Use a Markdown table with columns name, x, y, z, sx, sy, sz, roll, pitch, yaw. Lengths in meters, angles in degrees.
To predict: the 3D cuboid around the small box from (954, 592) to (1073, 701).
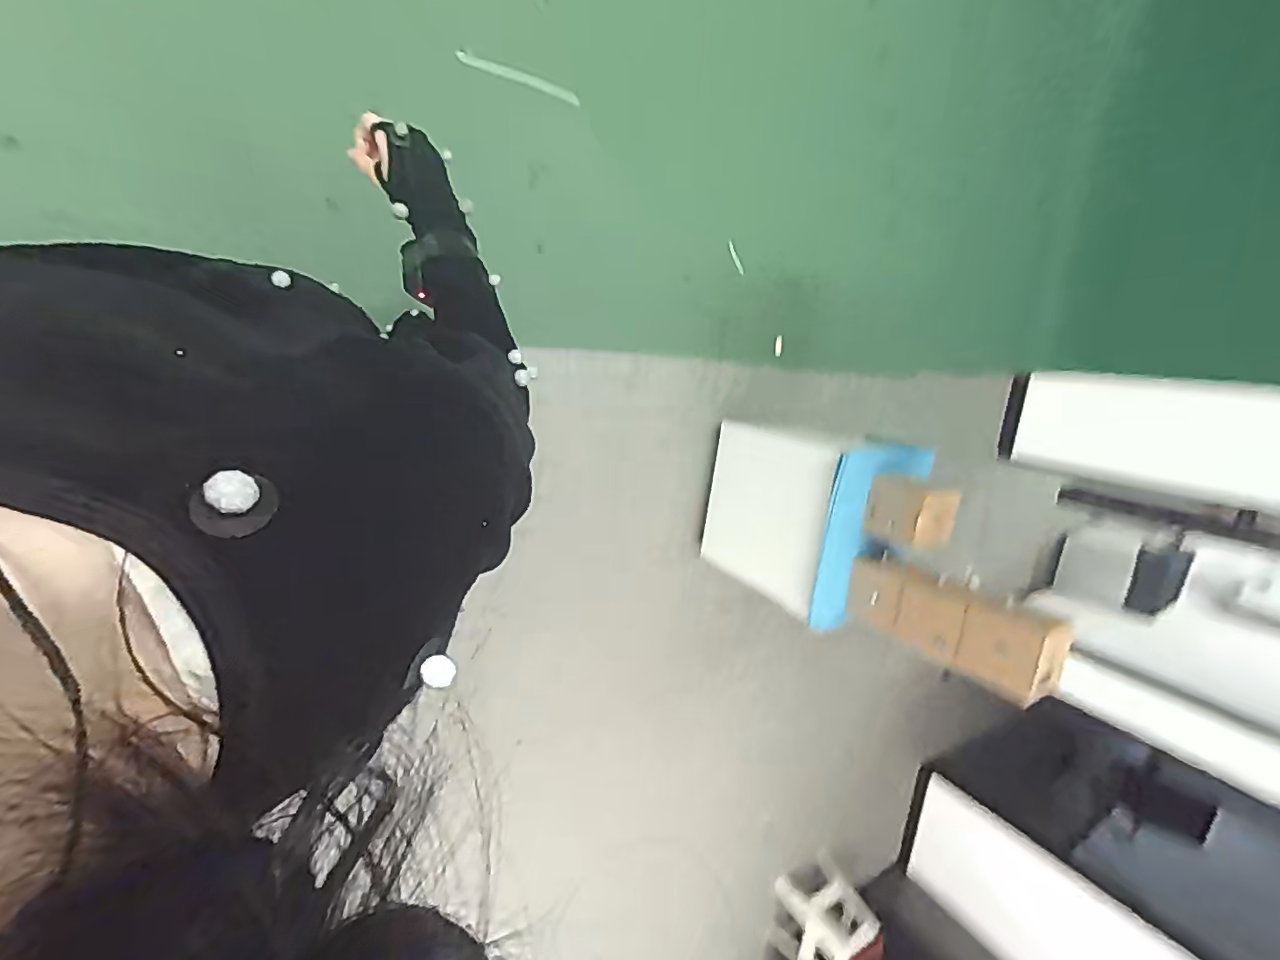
| name | x | y | z | sx | sy | sz | roll | pitch | yaw |
| --- | --- | --- | --- | --- | --- | --- | --- | --- | --- |
| small box | 0.893 | 0.394 | 1.304 | 0.168 | 0.176 | 0.179 | -4 | 105 | -33 |

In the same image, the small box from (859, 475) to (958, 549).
| name | x | y | z | sx | sy | sz | roll | pitch | yaw |
| --- | --- | --- | --- | --- | --- | --- | --- | --- | --- |
| small box | 0.751 | 0.085 | 1.525 | 0.179 | 0.176 | 0.168 | -1 | 107 | -33 |

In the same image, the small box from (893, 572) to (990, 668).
| name | x | y | z | sx | sy | sz | roll | pitch | yaw |
| --- | --- | --- | --- | --- | --- | --- | --- | --- | --- |
| small box | 0.805 | 0.365 | 1.440 | 0.168 | 0.176 | 0.179 | -5 | 106 | -32 |
